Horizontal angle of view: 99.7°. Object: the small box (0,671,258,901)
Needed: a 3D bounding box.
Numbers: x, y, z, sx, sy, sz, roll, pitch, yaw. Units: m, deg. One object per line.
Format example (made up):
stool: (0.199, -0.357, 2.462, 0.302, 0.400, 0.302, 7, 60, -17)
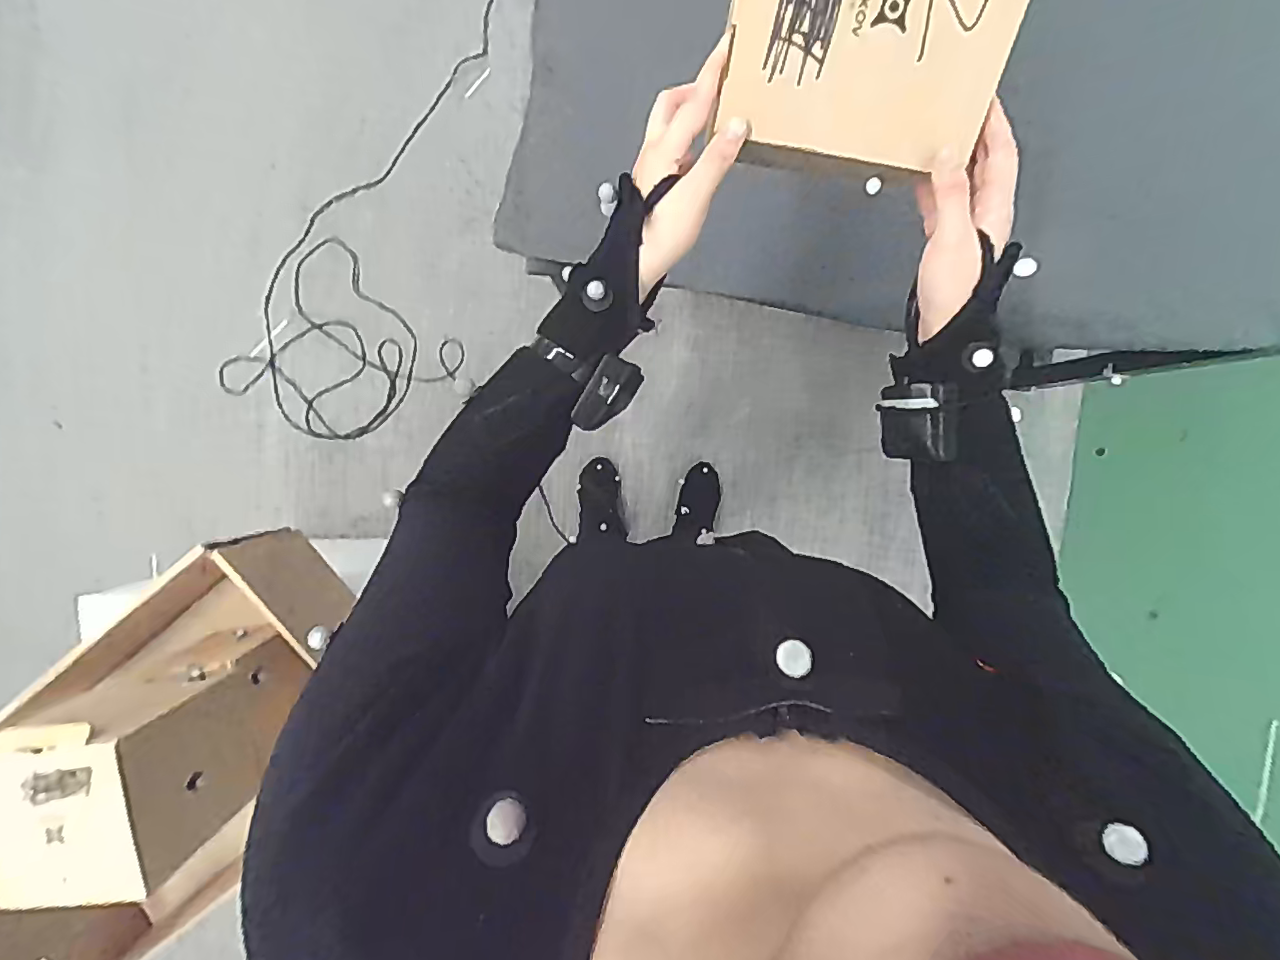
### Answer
small box: (-0.593, 0.338, 0.632, 0.168, 0.176, 0.179, -5, 97, 2)
